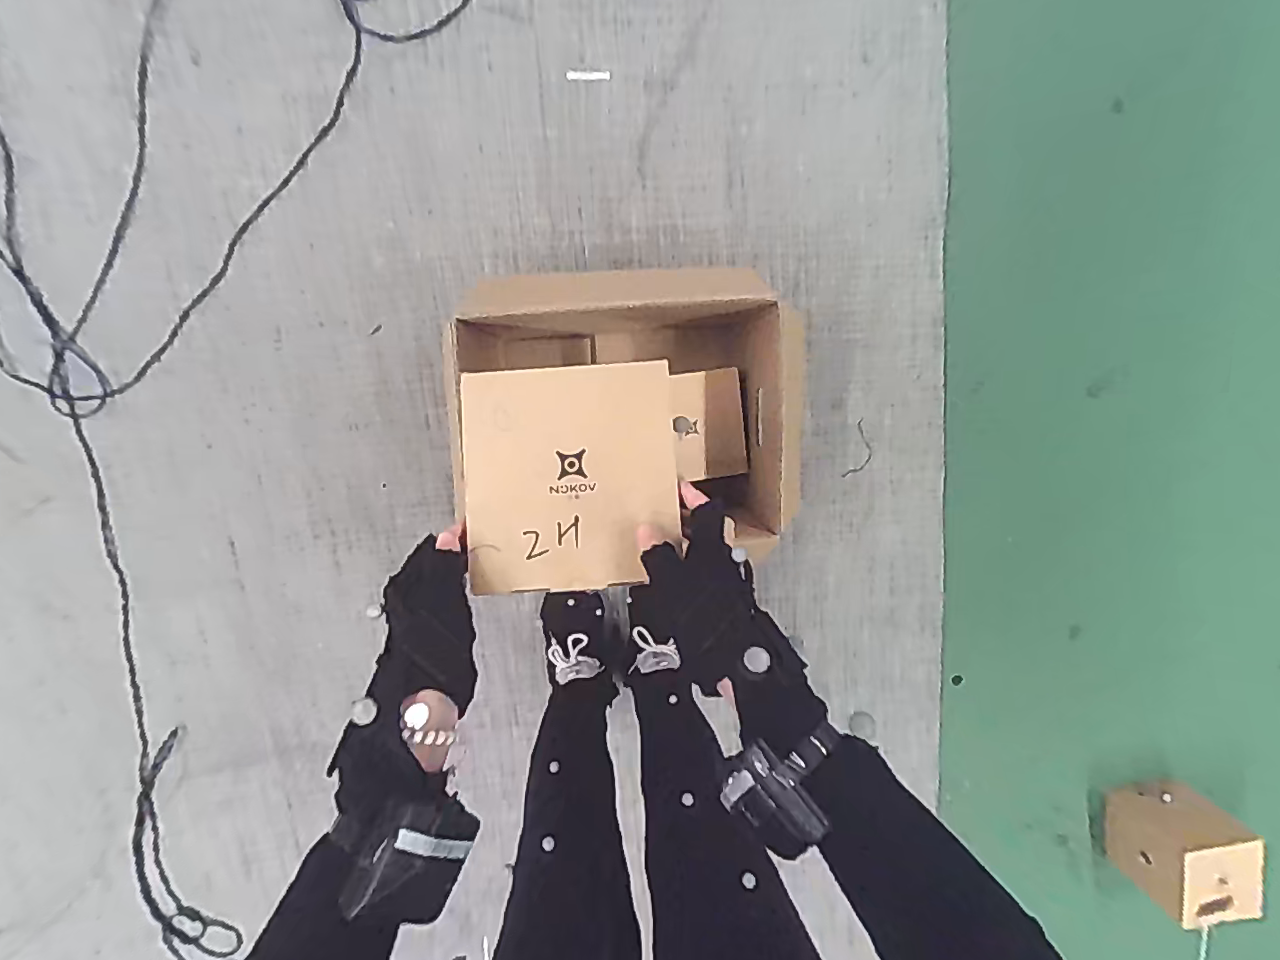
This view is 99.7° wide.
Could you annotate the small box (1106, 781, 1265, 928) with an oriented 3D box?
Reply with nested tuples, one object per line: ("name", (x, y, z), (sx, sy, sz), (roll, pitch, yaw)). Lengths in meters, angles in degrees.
("small box", (1.114, 0.767, 1.119), (0.168, 0.176, 0.179), (-8, 99, -2))

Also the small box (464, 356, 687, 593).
("small box", (-0.052, 0.002, 0.487), (0.168, 0.176, 0.179), (-4, 85, -1))
